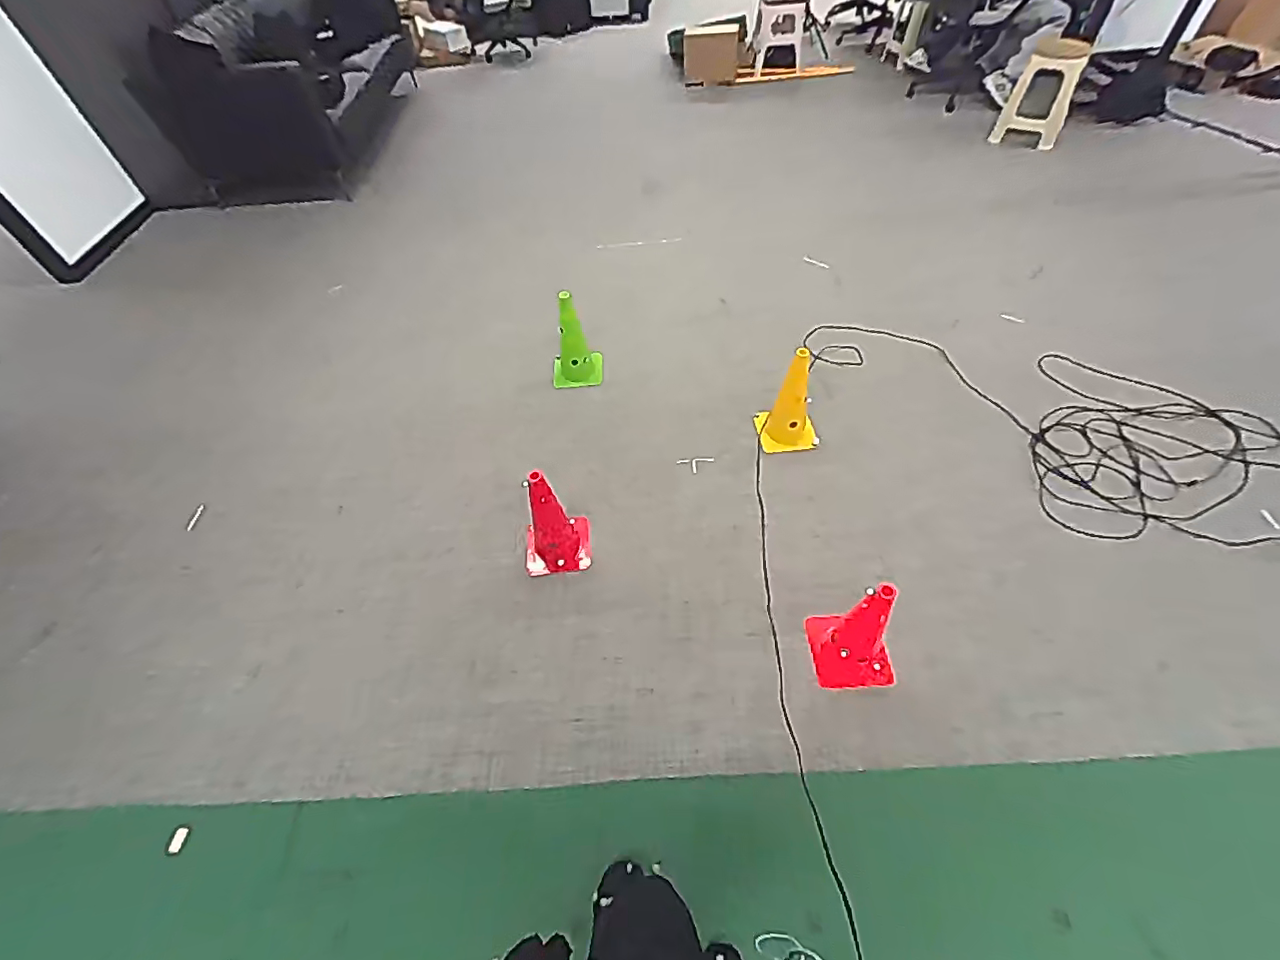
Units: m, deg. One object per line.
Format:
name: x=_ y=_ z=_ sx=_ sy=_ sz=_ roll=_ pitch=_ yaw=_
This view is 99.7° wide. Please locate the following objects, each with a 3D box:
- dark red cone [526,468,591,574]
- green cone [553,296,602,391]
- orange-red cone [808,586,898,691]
dark red cone: x=-0.266 y=0.100 z=1.563 sx=0.202 sy=0.394 sz=0.201 roll=-8 pitch=53 yaw=-2
green cone: x=-0.264 y=-0.547 z=2.111 sx=0.202 sy=0.368 sz=0.200 roll=-4 pitch=52 yaw=-1
orange-red cone: x=0.554 y=0.358 z=1.320 sx=0.198 sy=0.360 sz=0.199 roll=-3 pitch=50 yaw=1
